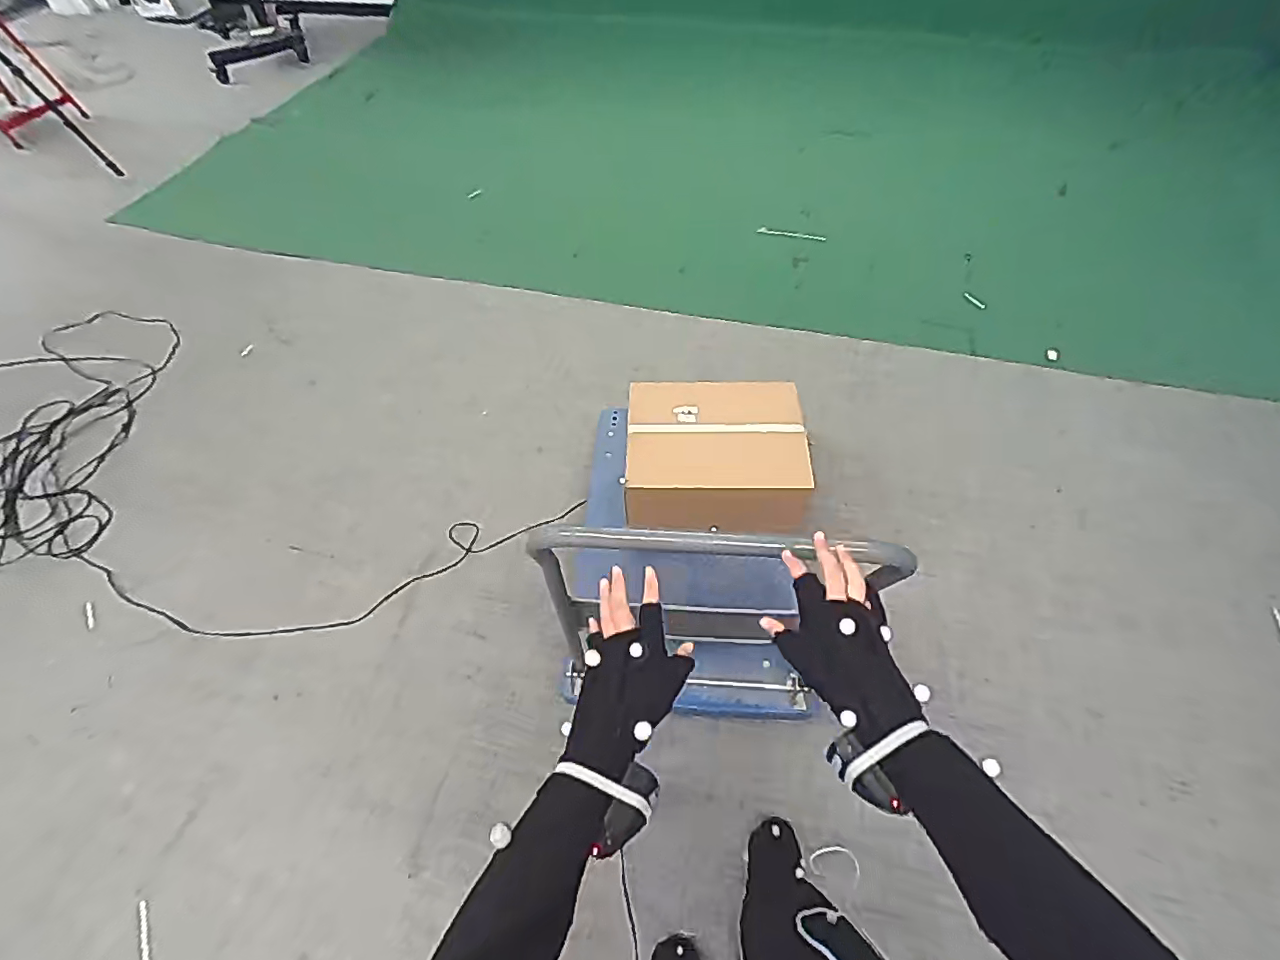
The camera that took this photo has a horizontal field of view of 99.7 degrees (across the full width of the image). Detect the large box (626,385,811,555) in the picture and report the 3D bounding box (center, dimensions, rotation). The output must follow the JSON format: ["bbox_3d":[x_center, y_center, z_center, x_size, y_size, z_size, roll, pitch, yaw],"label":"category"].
[{"bbox_3d":[0.178,-0.016,1.365,0.408,0.320,0.320,-1,55,3],"label":"large box"}]
